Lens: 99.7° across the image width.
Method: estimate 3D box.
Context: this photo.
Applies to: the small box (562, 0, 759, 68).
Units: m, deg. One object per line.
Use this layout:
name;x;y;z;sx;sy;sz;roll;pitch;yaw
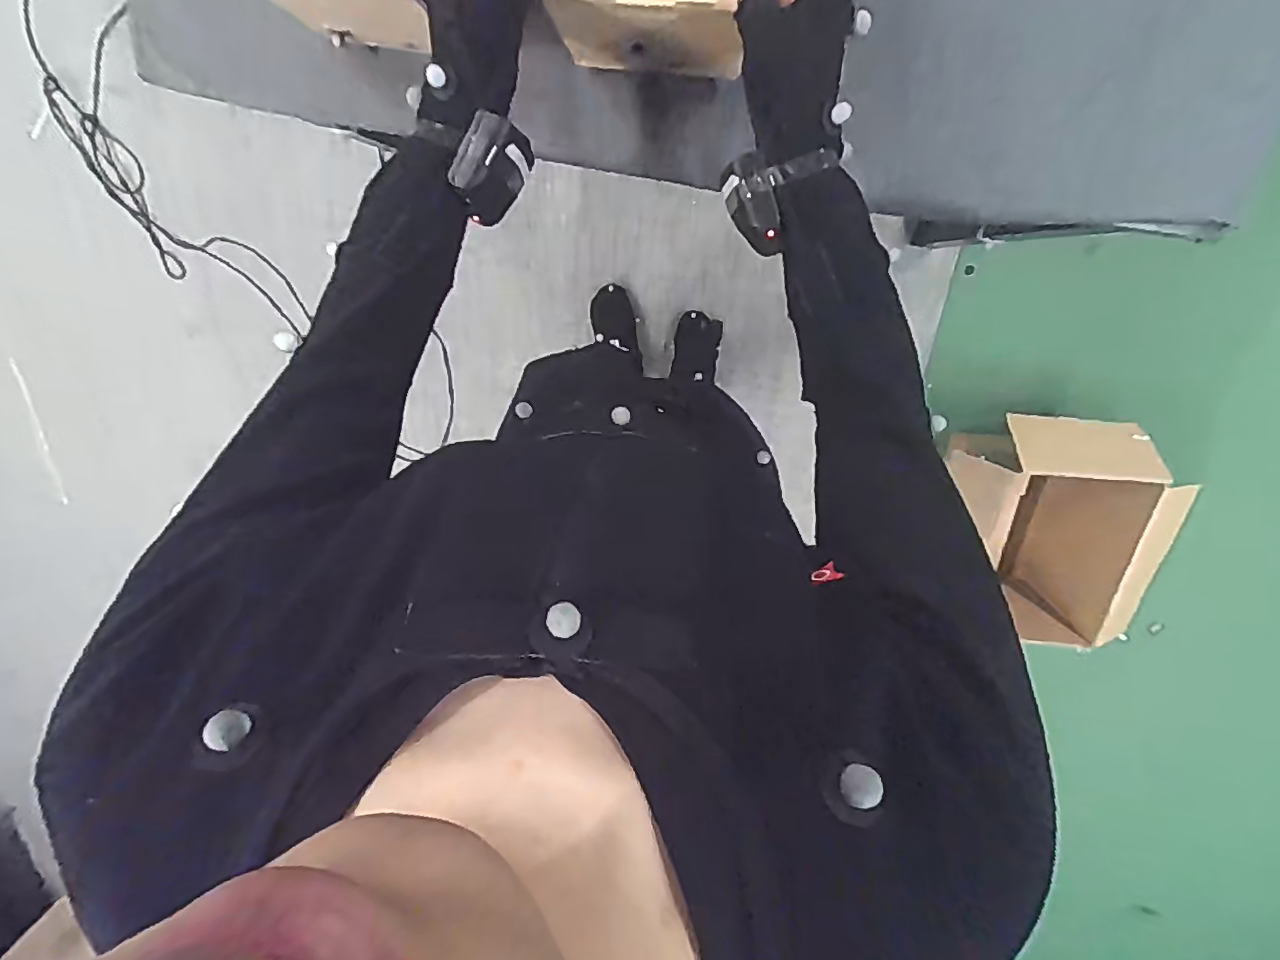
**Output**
small box;0.018;-0.467;0.435;0.168;0.176;0.179;6;115;1
